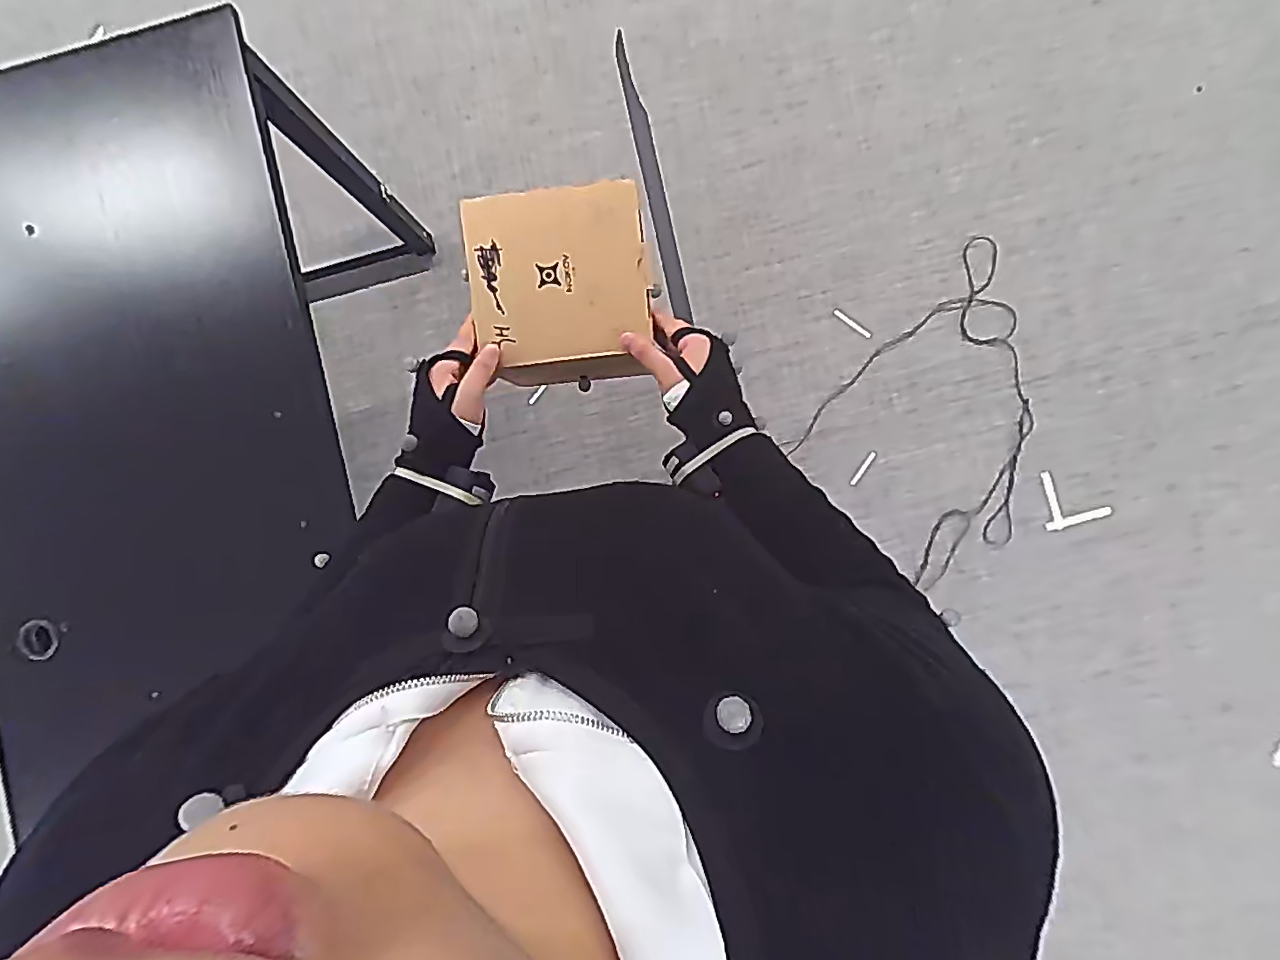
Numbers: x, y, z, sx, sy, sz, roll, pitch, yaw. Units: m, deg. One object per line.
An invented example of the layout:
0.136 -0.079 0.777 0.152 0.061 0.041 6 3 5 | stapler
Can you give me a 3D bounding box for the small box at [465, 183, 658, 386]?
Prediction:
-0.077 -0.203 0.605 0.179 0.176 0.168 -6 92 0 | small box
